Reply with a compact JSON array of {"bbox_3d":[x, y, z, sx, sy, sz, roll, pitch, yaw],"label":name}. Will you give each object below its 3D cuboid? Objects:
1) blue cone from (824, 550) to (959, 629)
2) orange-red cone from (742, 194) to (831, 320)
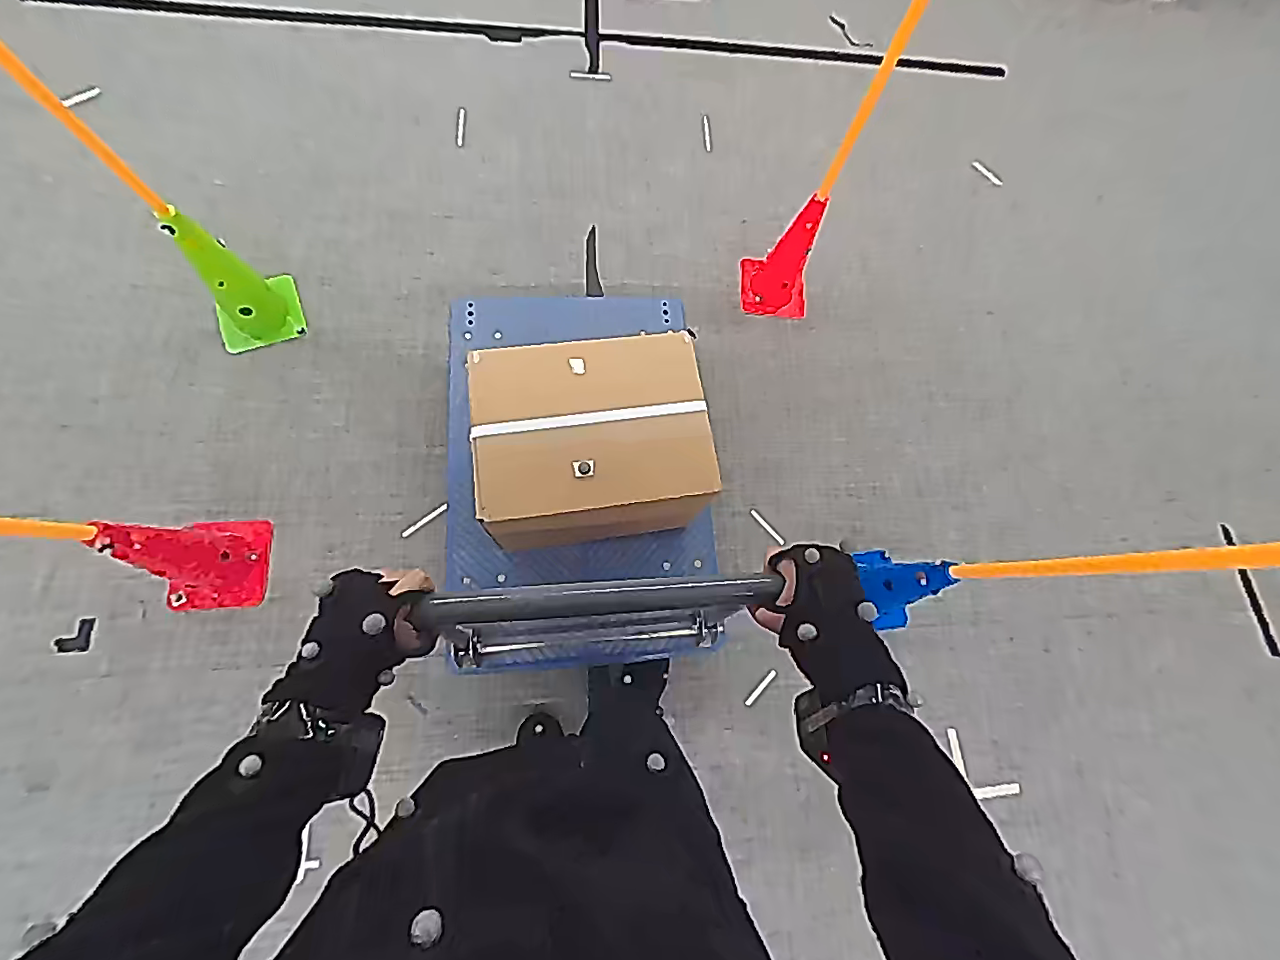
[{"bbox_3d":[0.600,0.229,1.243,0.193,0.380,0.192,-5,72,-8],"label":"blue cone"},{"bbox_3d":[0.431,-0.633,1.485,0.199,0.360,0.198,6,72,-6],"label":"orange-red cone"}]
